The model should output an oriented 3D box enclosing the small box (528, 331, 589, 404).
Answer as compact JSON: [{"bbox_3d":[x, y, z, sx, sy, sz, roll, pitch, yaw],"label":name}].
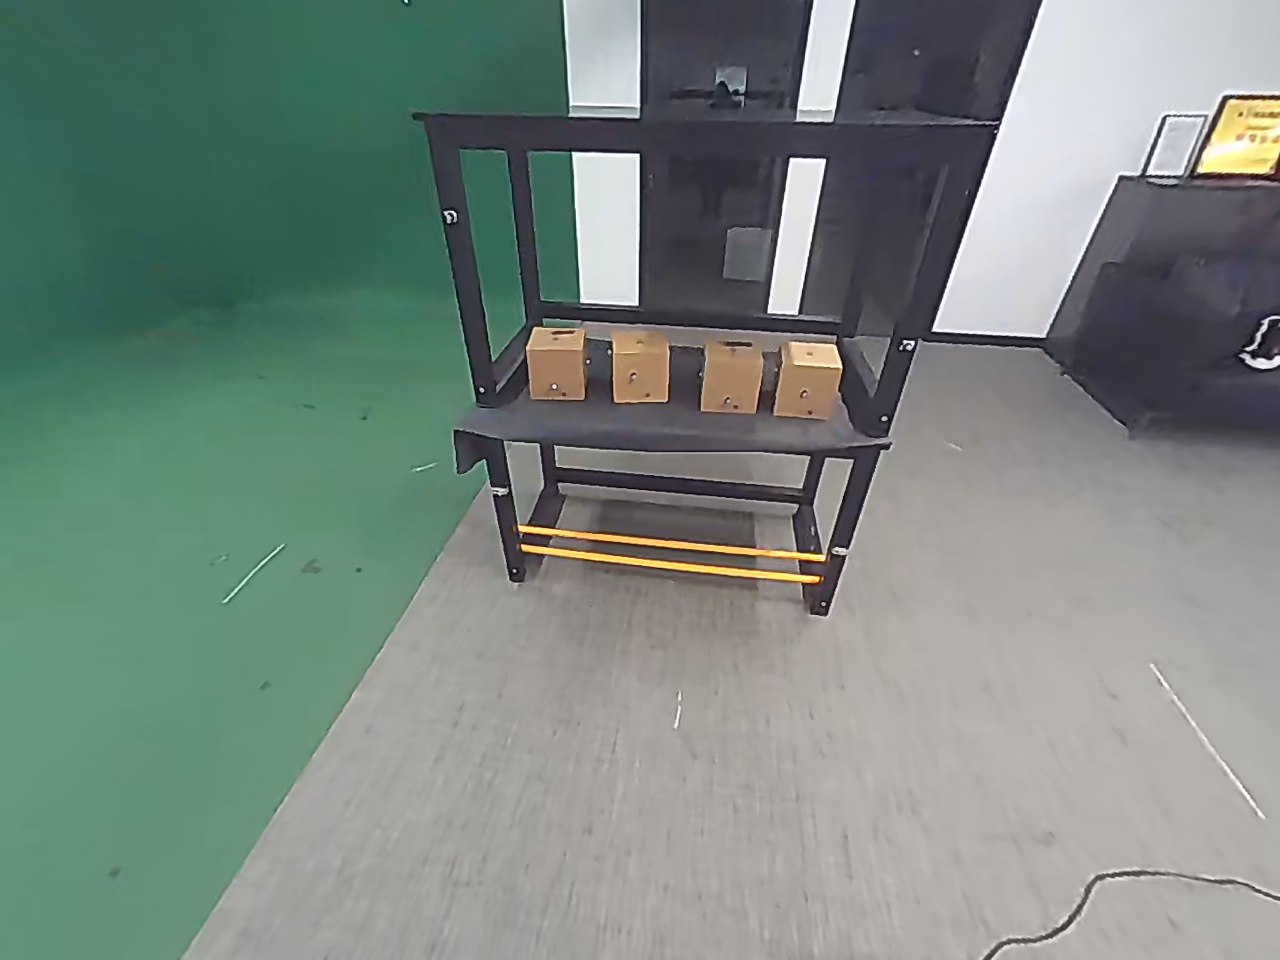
[{"bbox_3d":[-0.248,-0.354,1.692,0.168,0.176,0.179,0,36,-1],"label":"small box"}]
